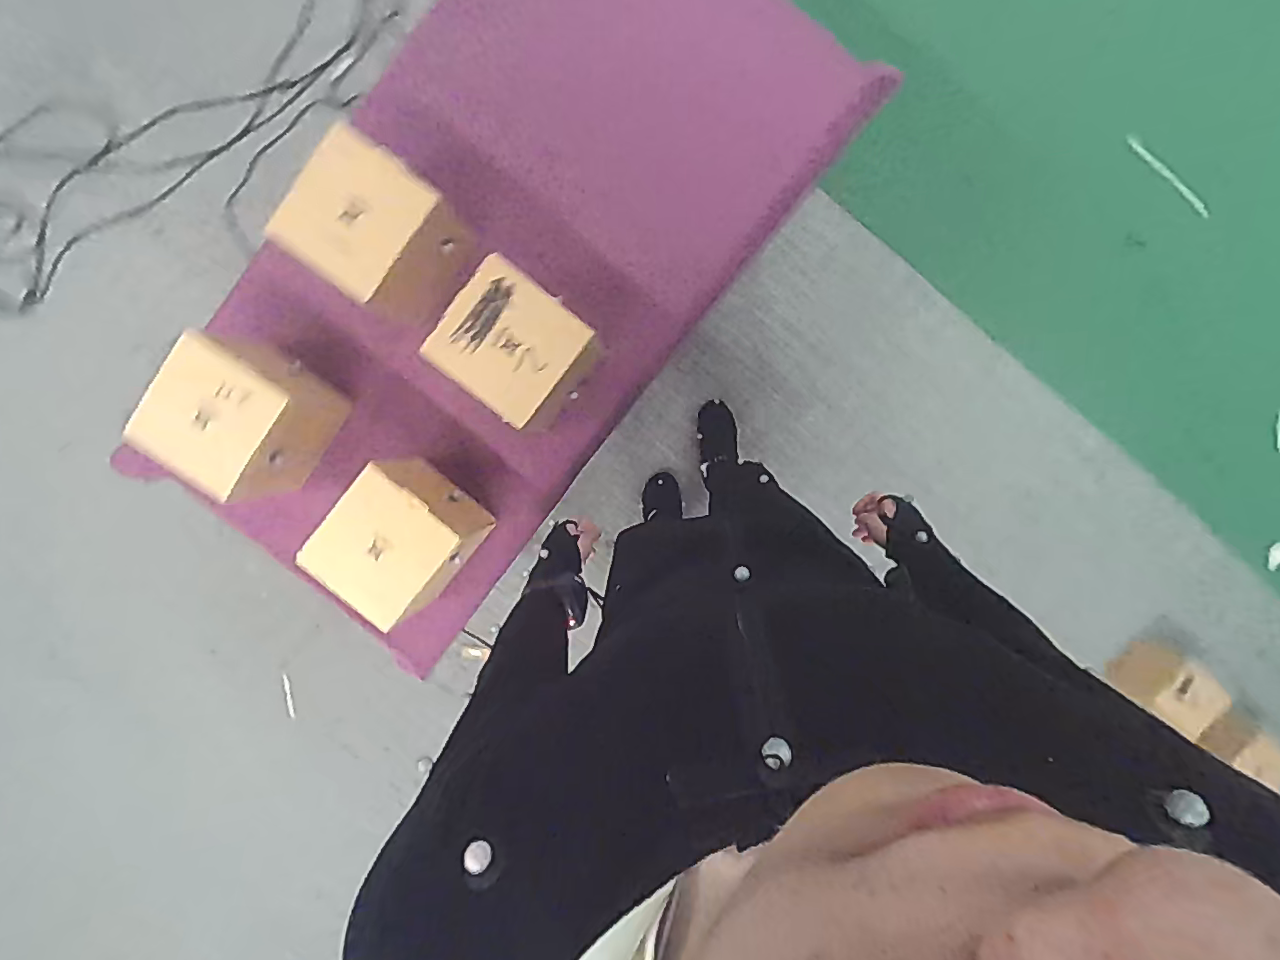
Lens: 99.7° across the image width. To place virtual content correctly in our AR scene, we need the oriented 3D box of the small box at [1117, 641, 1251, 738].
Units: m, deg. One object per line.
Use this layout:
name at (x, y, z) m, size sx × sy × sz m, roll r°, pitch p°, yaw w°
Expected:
small box at (1.541, 0.586, 1.547) m, size 0.179 × 0.176 × 0.168 m, roll 40°, pitch 95°, yaw -3°

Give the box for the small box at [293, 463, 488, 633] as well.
small box at (-0.359, 0.091, 0.815) m, size 0.168 × 0.176 × 0.179 m, roll 39°, pitch 94°, yaw -1°

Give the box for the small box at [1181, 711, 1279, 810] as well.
small box at (1.748, 0.789, 1.561) m, size 0.168 × 0.176 × 0.179 m, roll 42°, pitch 94°, yaw -3°

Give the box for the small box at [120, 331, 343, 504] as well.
small box at (-0.587, -0.088, 0.804) m, size 0.168 × 0.176 × 0.179 m, roll 35°, pitch 94°, yaw -2°

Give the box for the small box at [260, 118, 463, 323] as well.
small box at (-0.380, -0.355, 0.779) m, size 0.168 × 0.176 × 0.179 m, roll 37°, pitch 95°, yaw -2°
